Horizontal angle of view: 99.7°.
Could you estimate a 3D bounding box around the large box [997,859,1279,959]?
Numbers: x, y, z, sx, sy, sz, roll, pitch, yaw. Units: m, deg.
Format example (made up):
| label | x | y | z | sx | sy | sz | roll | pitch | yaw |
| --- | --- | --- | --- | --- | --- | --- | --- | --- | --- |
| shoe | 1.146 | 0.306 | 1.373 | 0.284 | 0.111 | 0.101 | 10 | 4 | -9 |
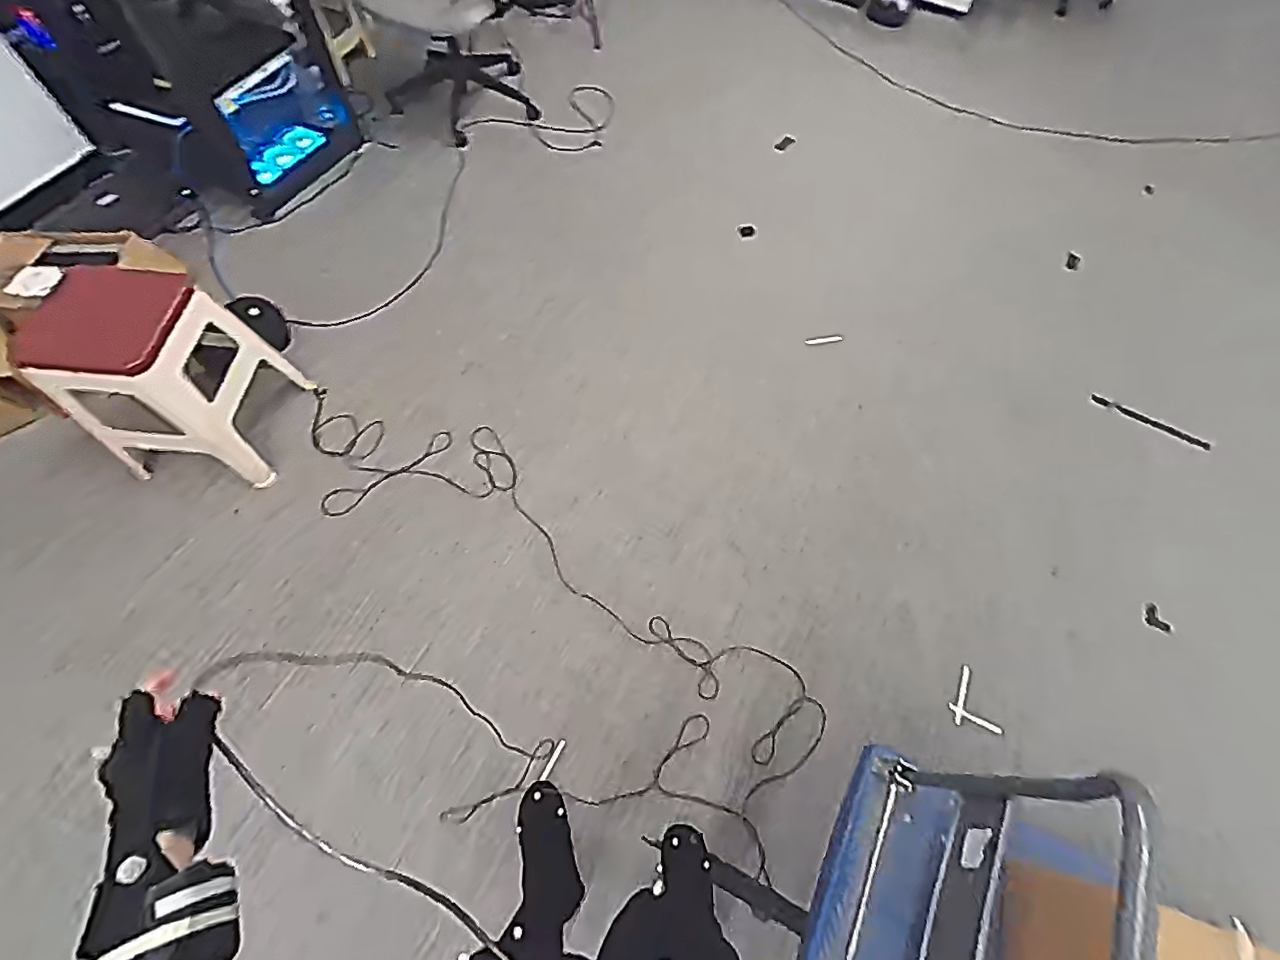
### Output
| label | x | y | z | sx | sy | sz | roll | pitch | yaw |
| --- | --- | --- | --- | --- | --- | --- | --- | --- | --- |
| large box | 0.820 | 0.916 | 0.870 | 0.320 | 0.320 | 0.408 | 20 | 64 | 7 |
